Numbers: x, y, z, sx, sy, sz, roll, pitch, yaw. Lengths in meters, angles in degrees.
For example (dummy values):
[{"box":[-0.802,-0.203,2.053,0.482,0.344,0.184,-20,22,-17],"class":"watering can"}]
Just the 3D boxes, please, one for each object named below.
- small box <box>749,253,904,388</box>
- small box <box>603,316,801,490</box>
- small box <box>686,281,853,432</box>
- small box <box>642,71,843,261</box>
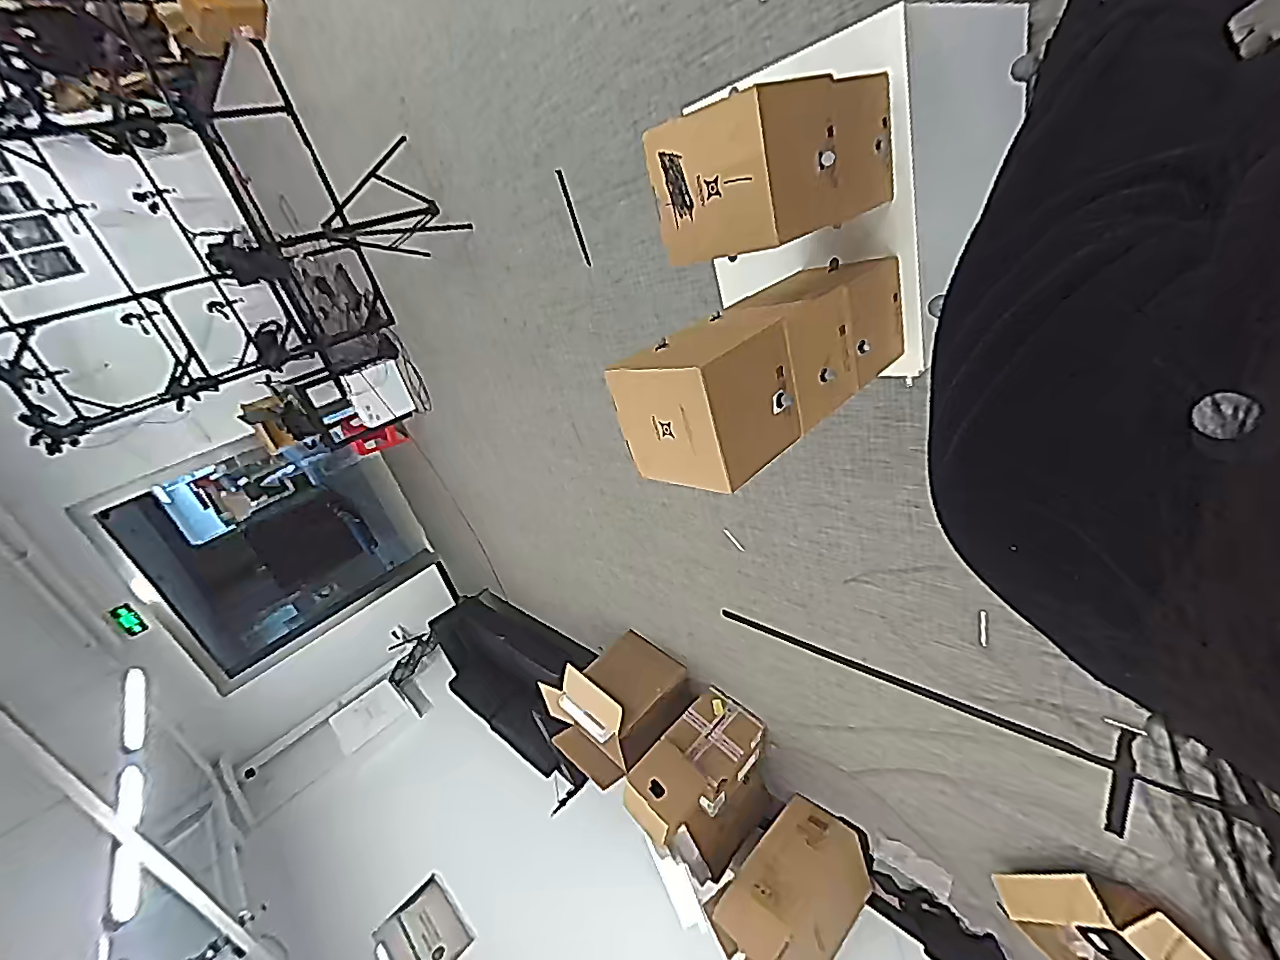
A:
[{"box":[0.312,-0.263,0.897,0.179,0.176,0.168,14,129,48],"class":"small box"},{"box":[0.085,-0.108,0.722,0.179,0.176,0.168,10,128,48],"class":"small box"},{"box":[0.200,-0.185,0.808,0.179,0.176,0.168,12,128,48],"class":"small box"},{"box":[0.135,-0.396,0.696,0.179,0.176,0.168,13,130,45],"class":"small box"}]
